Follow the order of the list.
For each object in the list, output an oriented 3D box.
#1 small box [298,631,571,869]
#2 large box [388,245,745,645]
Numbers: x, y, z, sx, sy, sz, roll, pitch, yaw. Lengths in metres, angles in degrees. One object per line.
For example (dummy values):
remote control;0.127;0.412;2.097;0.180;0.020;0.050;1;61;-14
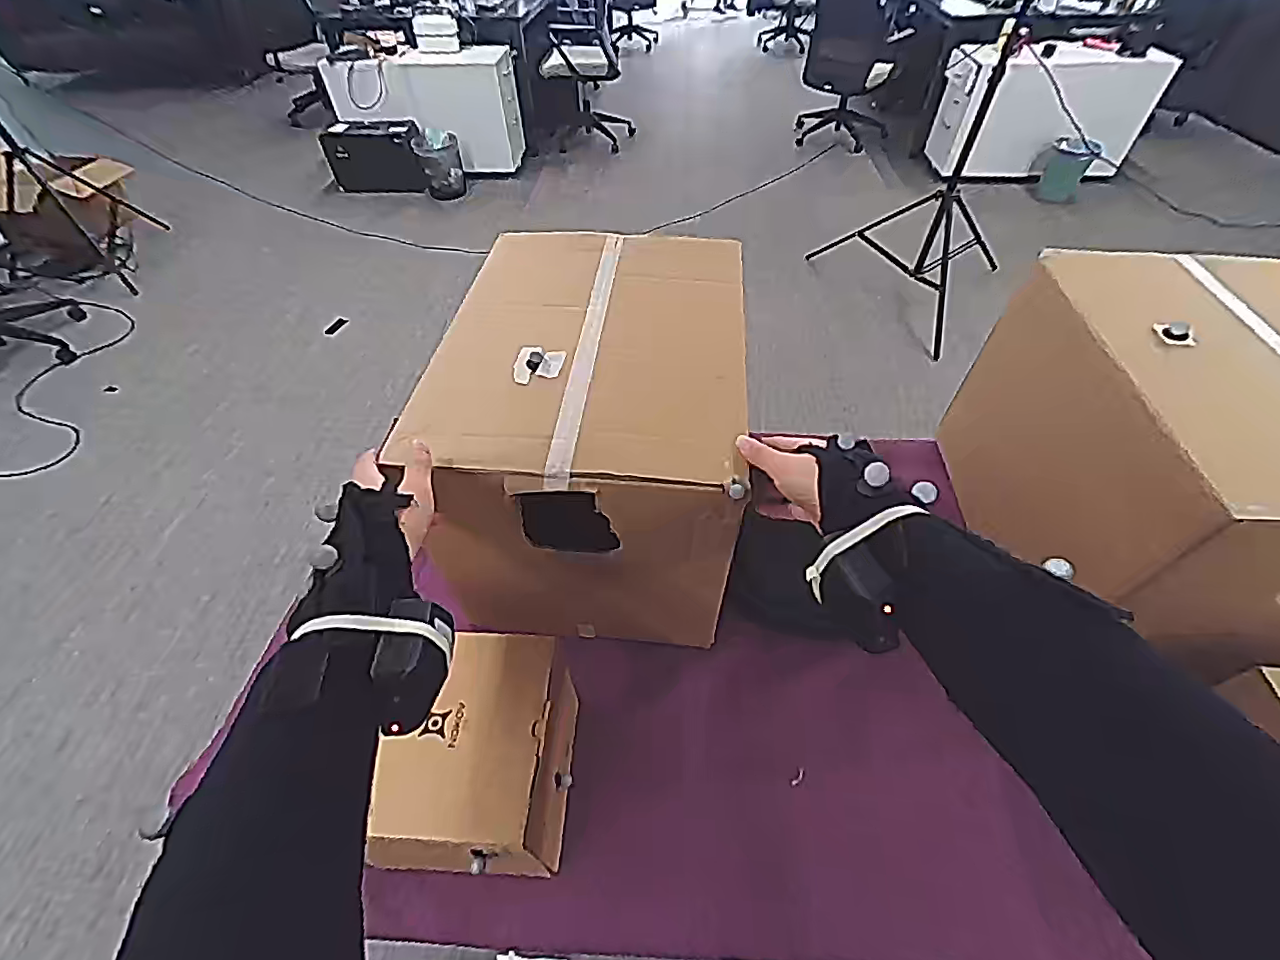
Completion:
small box;-0.170;0.260;0.518;0.179;0.176;0.168;1;48;2
large box;-0.049;-0.048;0.689;0.320;0.320;0.408;3;52;5
